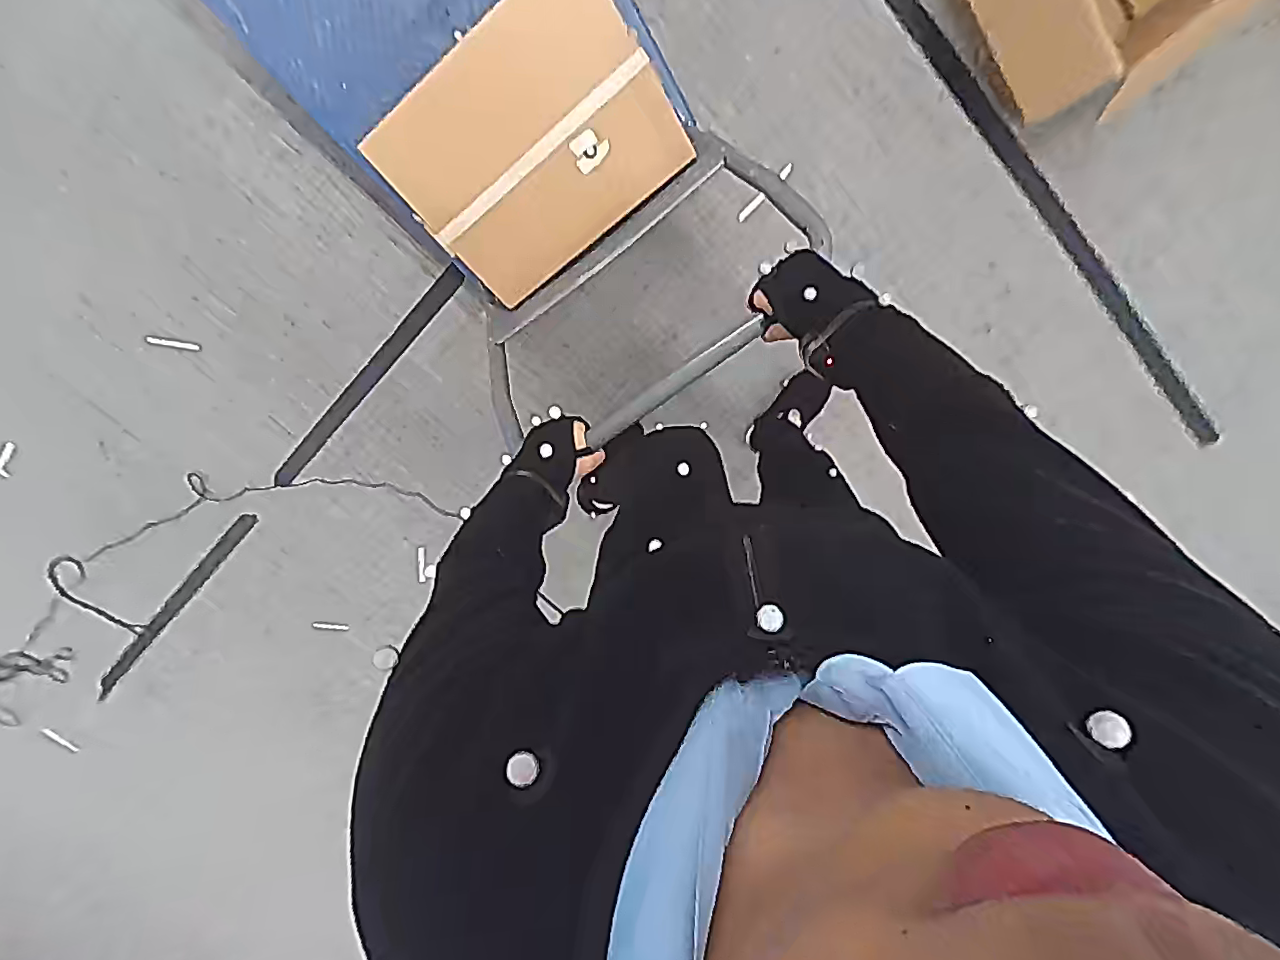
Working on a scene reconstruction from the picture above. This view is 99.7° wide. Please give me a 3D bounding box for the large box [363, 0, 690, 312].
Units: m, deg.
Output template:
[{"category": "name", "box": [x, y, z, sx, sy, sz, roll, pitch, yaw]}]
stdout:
[{"category": "large box", "box": [-0.191, -0.578, 0.930, 0.408, 0.320, 0.320, -36, 129, 14]}]
